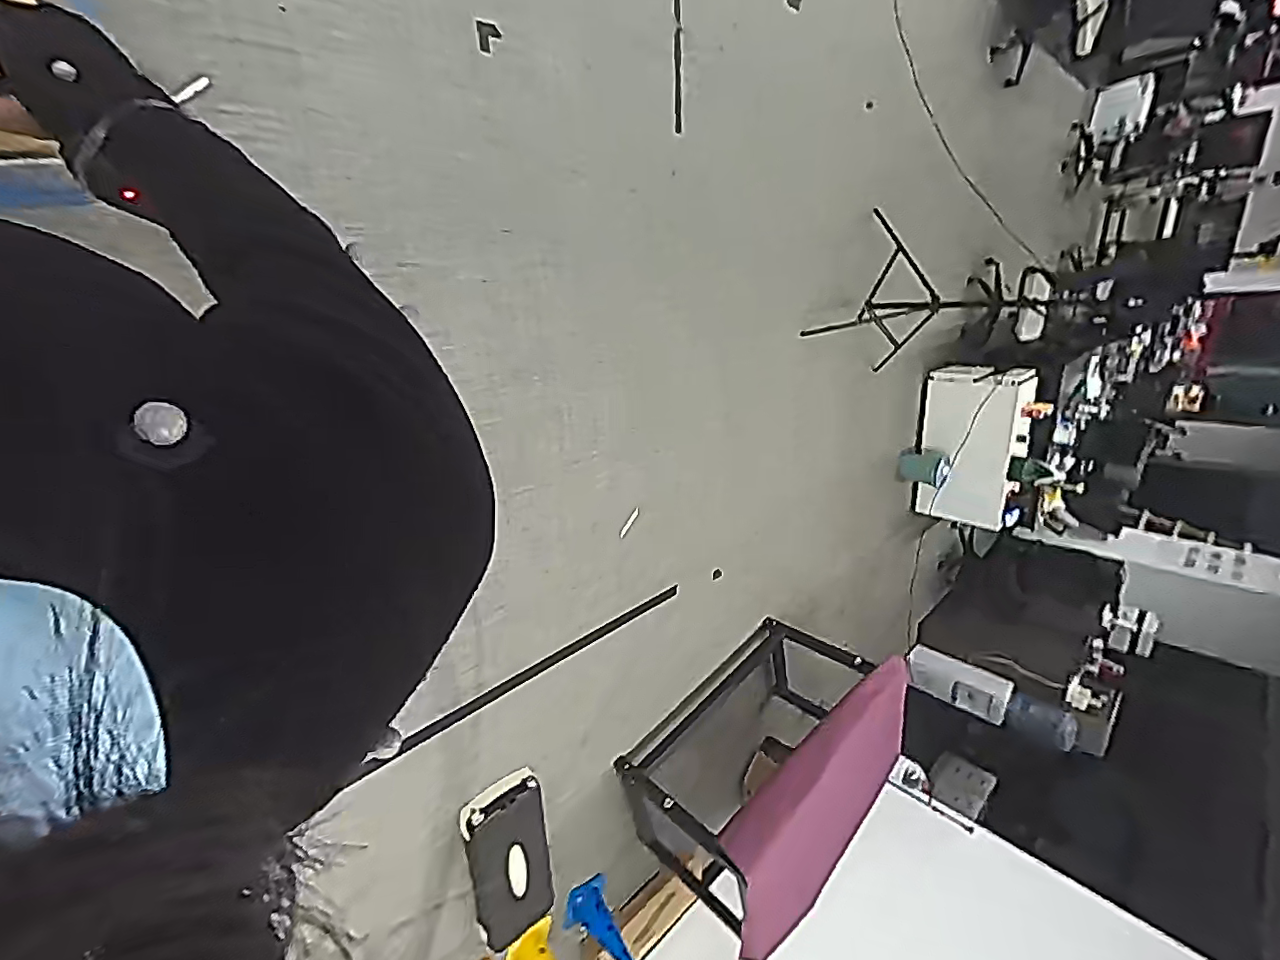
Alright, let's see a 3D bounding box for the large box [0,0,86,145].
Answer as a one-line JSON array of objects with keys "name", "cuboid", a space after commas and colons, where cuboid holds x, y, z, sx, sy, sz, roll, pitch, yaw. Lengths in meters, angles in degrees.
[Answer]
[{"name": "large box", "cuboid": [-0.977, -0.589, 0.615, 0.408, 0.320, 0.320, -28, 121, -36]}]
